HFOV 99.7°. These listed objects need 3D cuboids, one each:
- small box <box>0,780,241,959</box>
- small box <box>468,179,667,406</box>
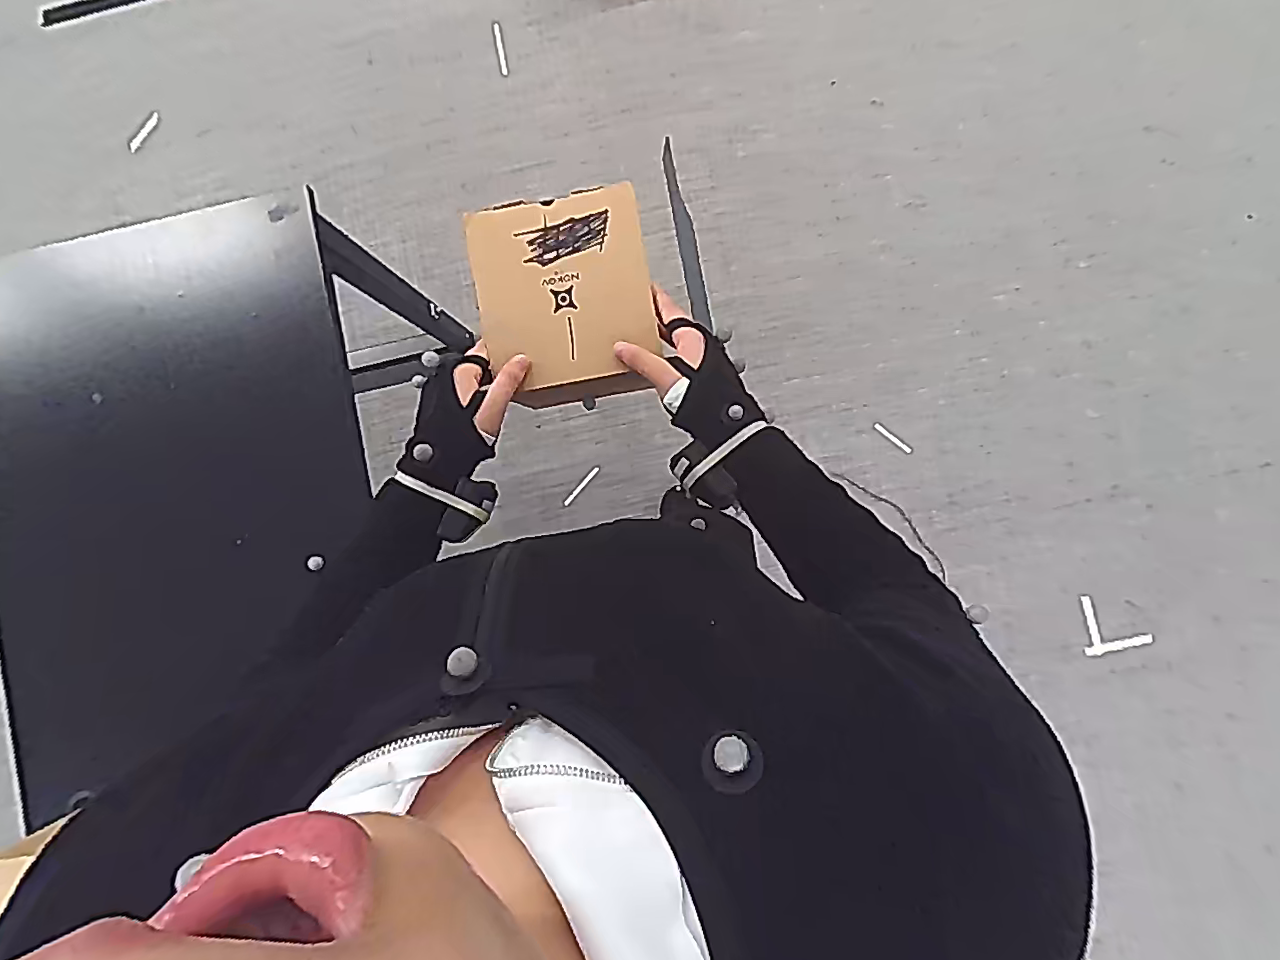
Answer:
[{"bbox_3d":[-0.666,0.521,0.711,0.179,0.176,0.168,-9,87,3],"label":"small box"},{"bbox_3d":[-0.067,-0.186,0.587,0.168,0.176,0.179,-10,92,2],"label":"small box"}]
